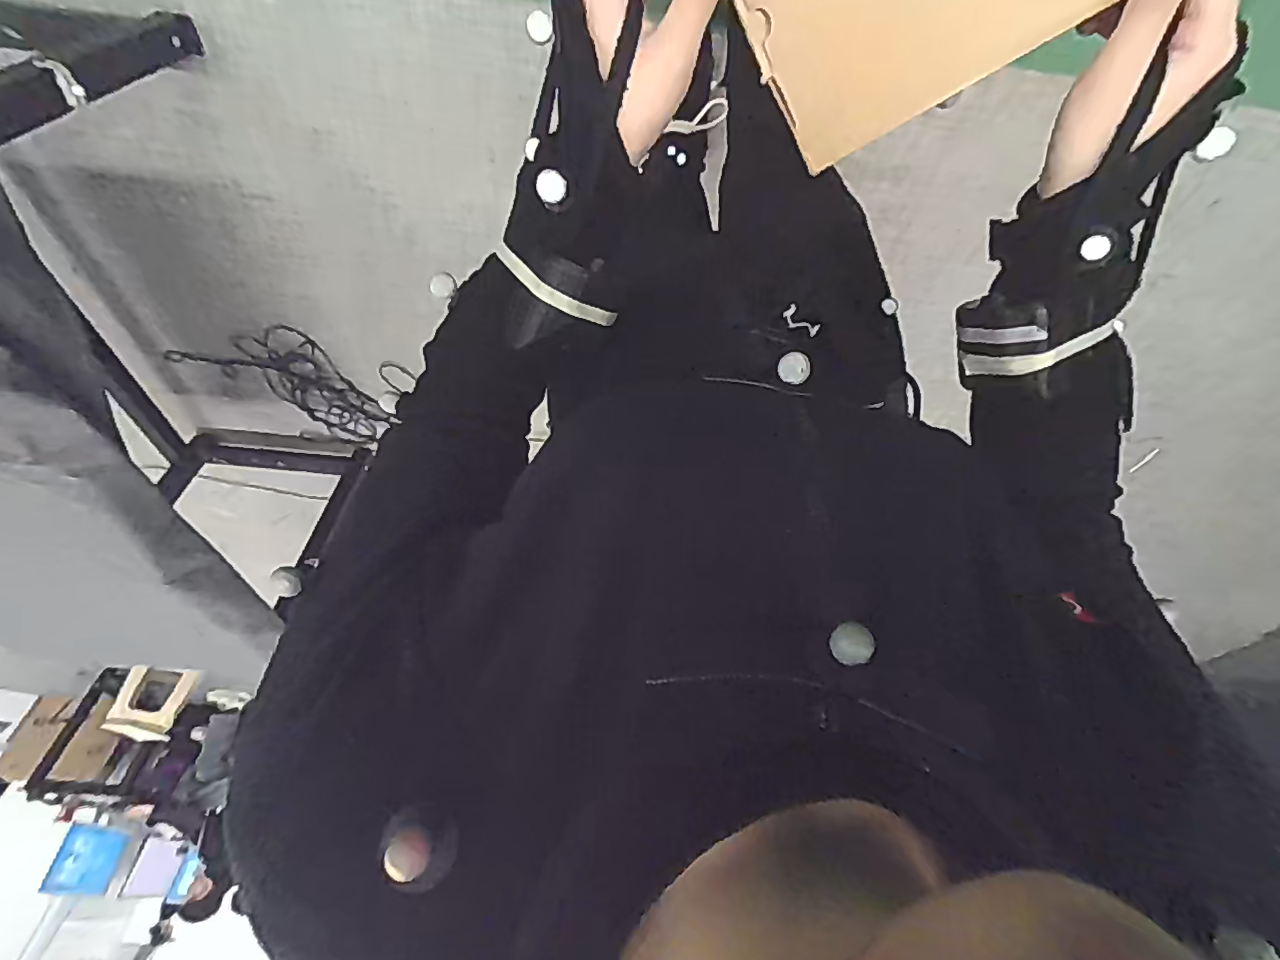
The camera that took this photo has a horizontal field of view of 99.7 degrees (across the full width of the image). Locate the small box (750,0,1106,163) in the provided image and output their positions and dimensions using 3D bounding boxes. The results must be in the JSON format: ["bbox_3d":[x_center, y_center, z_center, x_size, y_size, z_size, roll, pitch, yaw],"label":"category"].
[{"bbox_3d":[0.143,-0.320,0.283,0.179,0.176,0.168,-18,132,32],"label":"small box"}]
